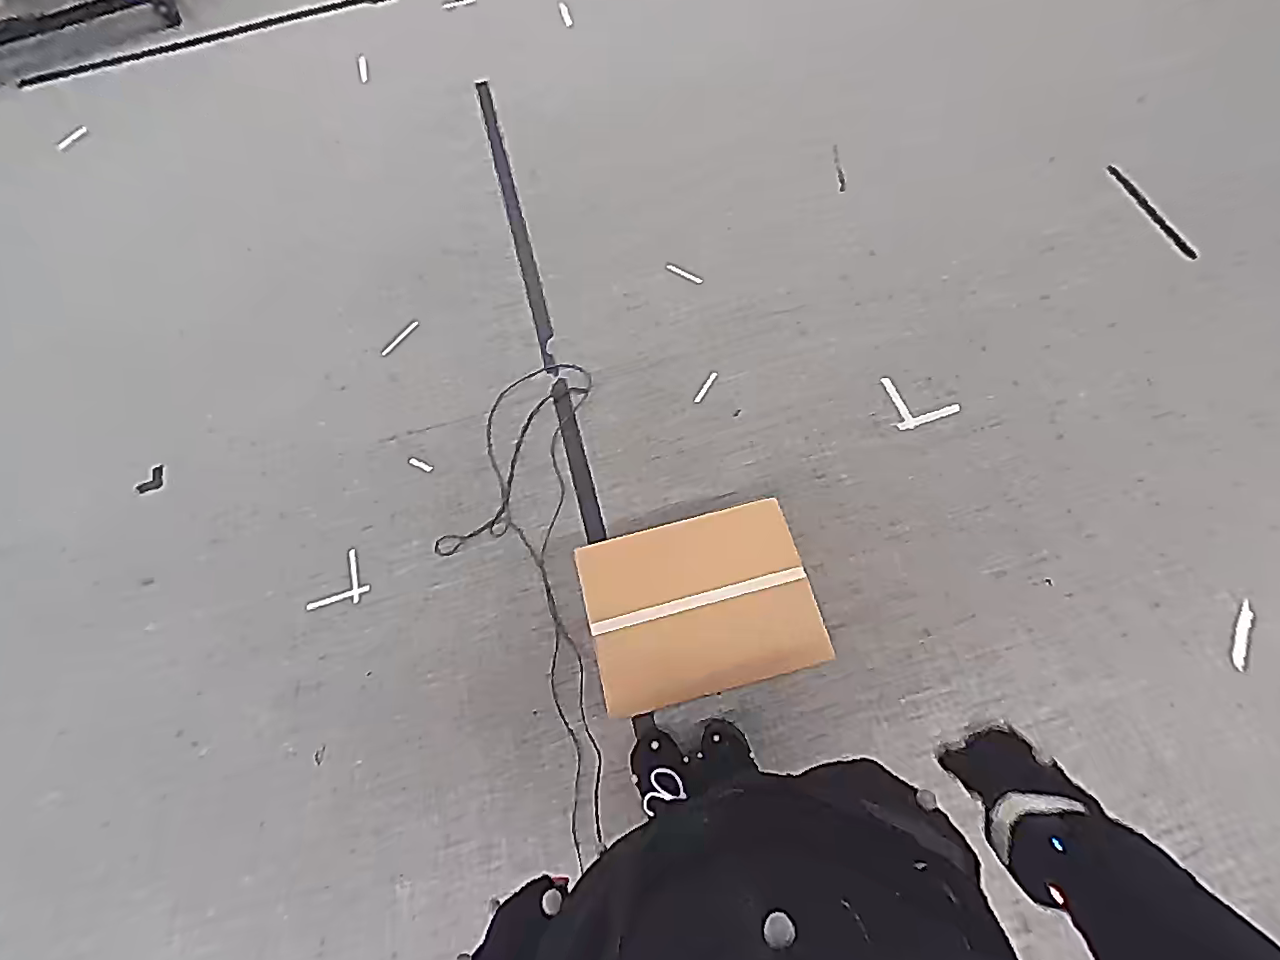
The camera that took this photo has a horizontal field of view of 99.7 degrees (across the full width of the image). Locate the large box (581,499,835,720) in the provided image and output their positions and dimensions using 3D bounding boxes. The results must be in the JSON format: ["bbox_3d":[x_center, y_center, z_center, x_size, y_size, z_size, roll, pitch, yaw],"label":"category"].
[{"bbox_3d":[0.122,0.278,1.124,0.408,0.320,0.320,-15,69,-2],"label":"large box"}]
